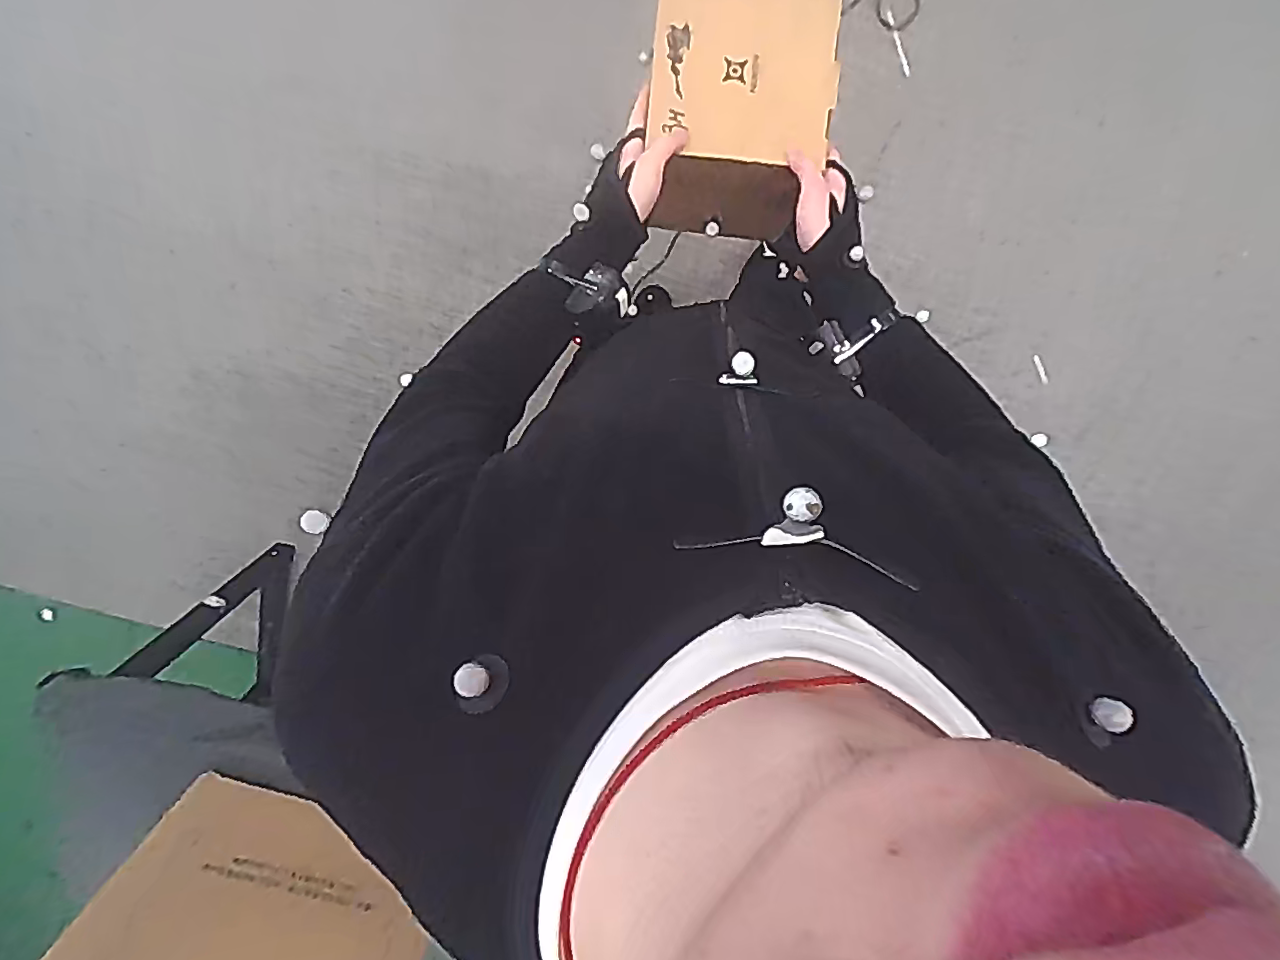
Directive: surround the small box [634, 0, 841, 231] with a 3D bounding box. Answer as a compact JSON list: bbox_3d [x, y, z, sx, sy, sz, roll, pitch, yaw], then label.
[{"bbox_3d":[0.092,-0.391,0.586,0.179,0.176,0.168,5,90,-4],"label":"small box"}]
